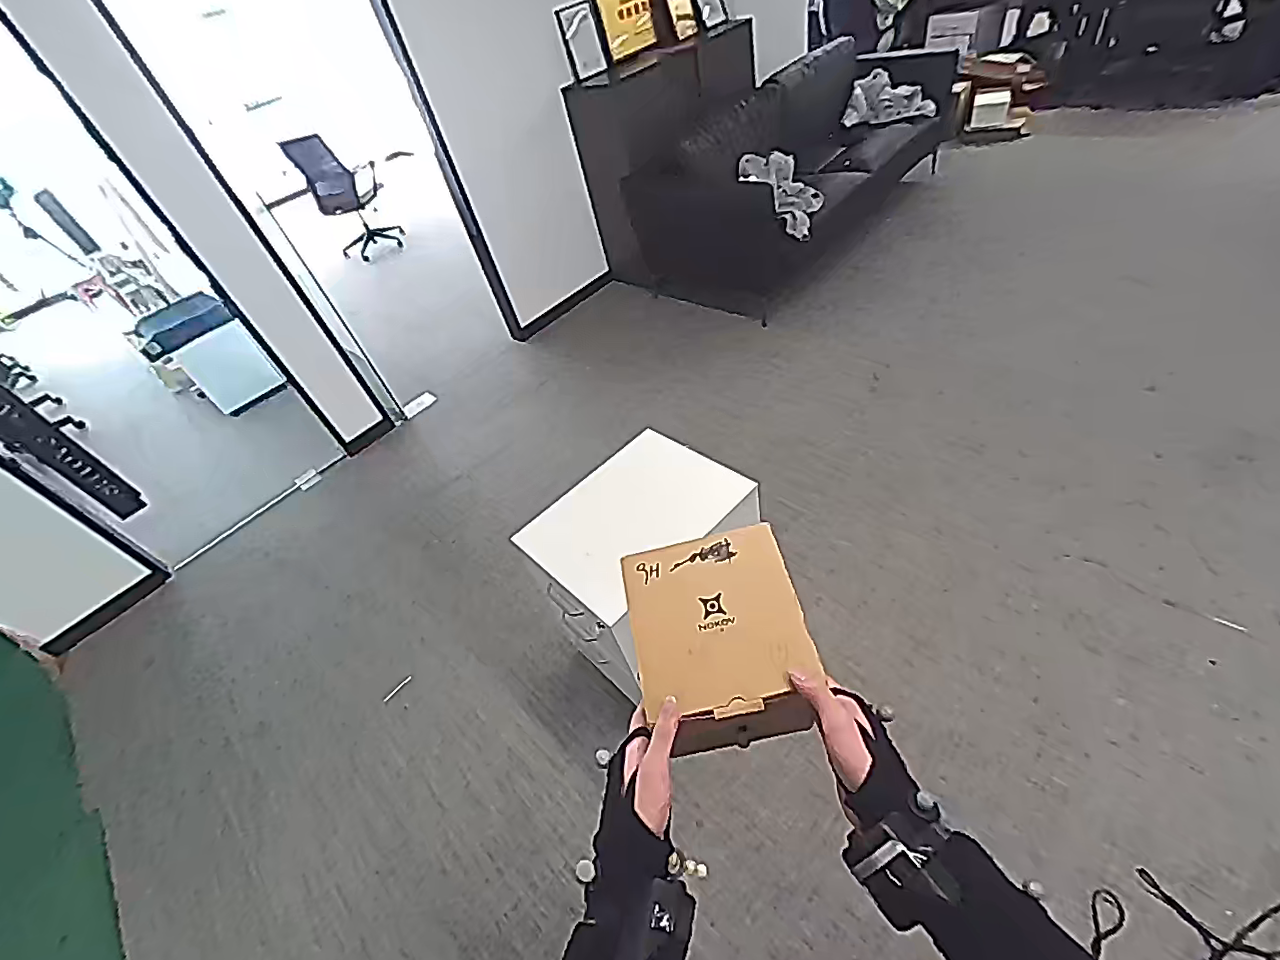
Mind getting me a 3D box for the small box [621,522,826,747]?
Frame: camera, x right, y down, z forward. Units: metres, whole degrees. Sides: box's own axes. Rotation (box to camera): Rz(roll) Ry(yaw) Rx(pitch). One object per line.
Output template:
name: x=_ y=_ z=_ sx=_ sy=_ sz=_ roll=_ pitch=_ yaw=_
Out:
small box: x=0.090 y=0.179 z=0.596 sx=0.168 sy=0.176 sz=0.179 roll=-16 pitch=52 yaw=1
